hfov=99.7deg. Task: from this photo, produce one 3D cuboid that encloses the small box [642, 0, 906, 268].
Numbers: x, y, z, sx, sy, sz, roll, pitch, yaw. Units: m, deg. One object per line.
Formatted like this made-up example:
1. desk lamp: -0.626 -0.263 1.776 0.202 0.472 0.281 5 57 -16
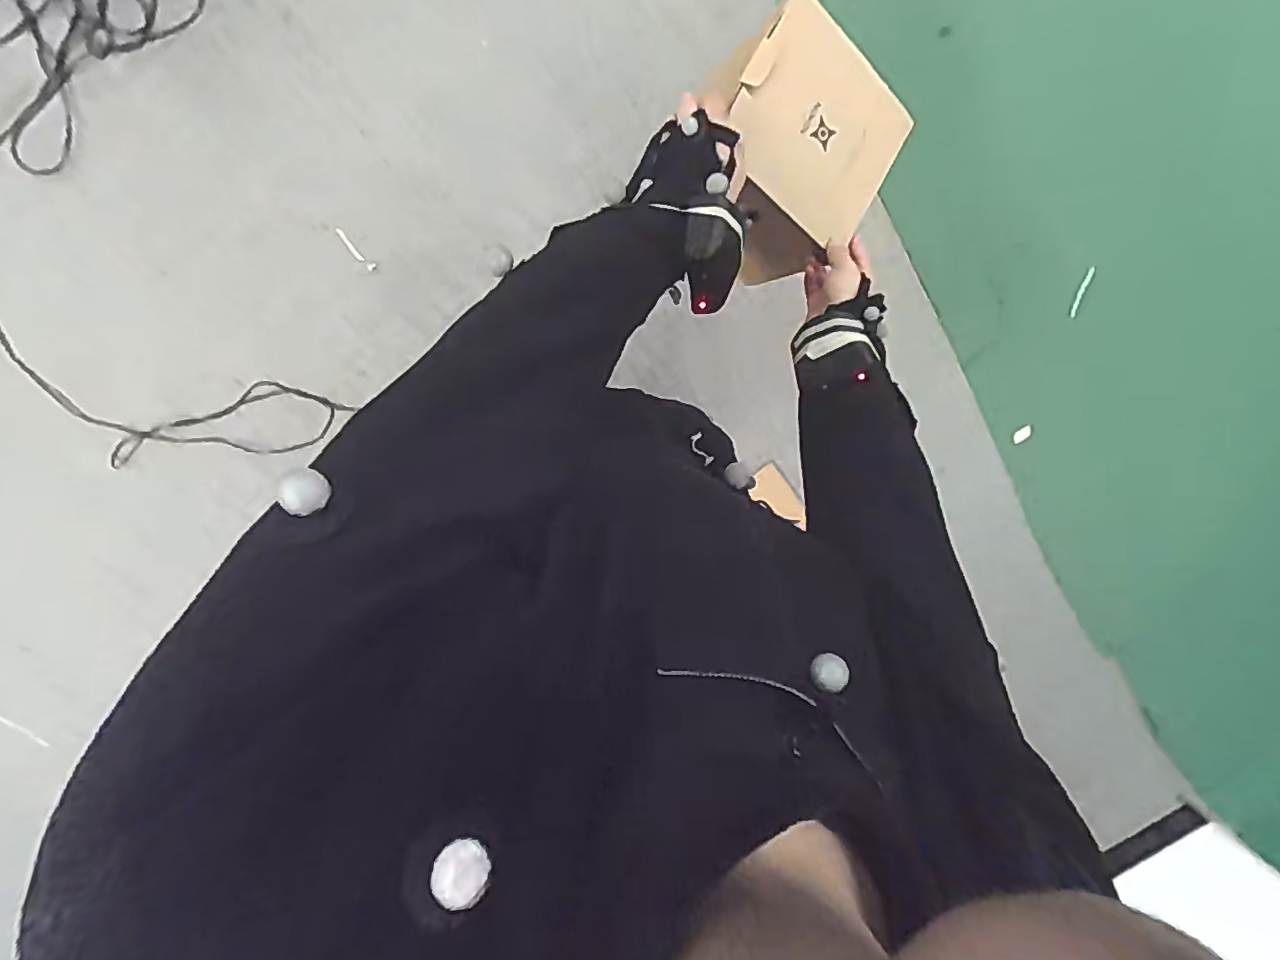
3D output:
1. small box: 0.128 -0.349 0.573 0.179 0.176 0.168 28 90 -25
